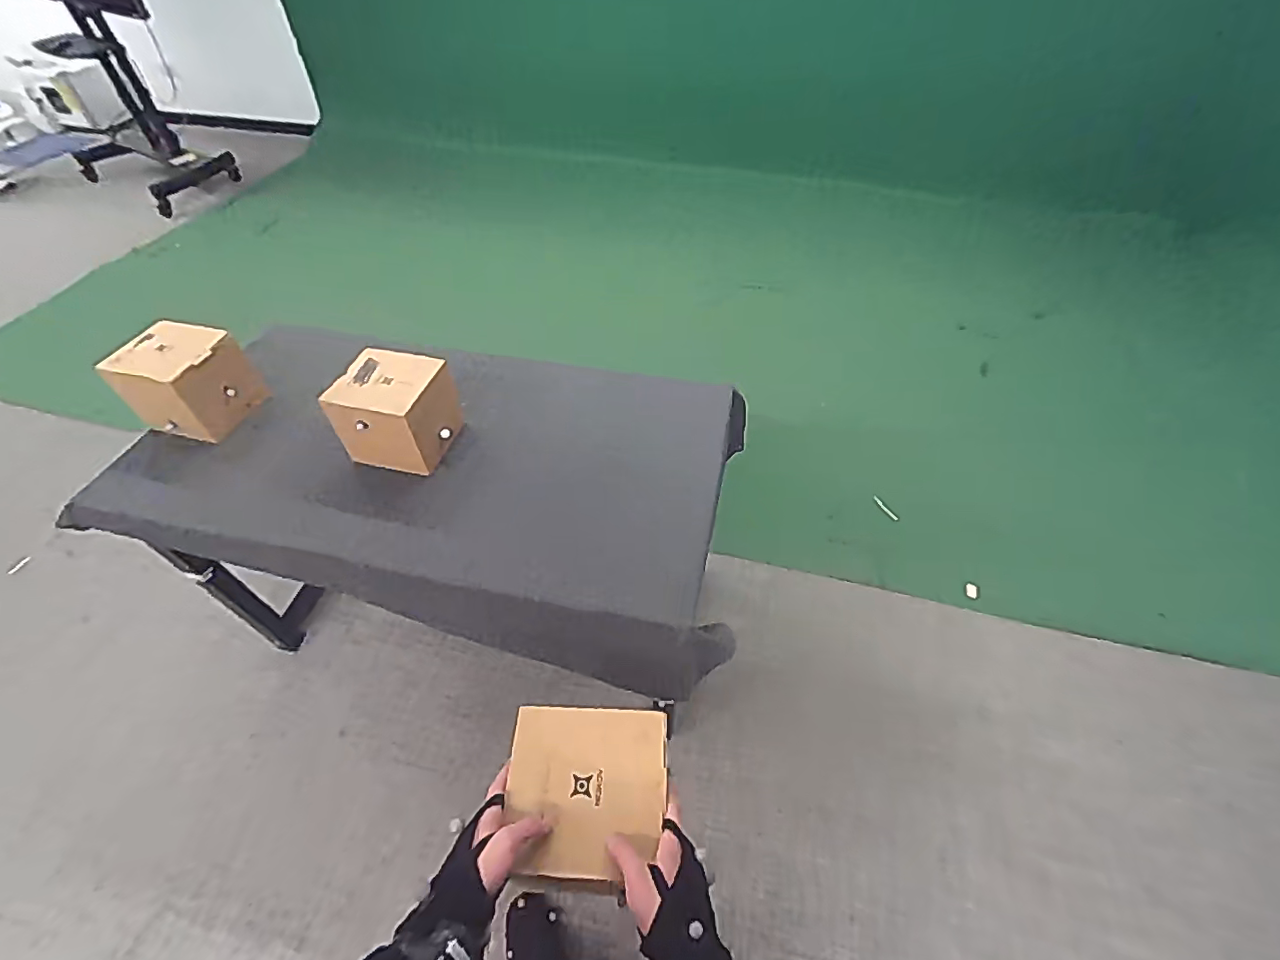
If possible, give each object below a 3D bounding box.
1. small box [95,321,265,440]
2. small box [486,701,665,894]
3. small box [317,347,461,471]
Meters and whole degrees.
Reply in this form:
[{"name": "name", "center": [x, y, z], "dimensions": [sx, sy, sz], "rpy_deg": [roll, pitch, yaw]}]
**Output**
[{"name": "small box", "center": [-0.945, -0.205, 1.134], "dimensions": [0.179, 0.176, 0.168], "rpy_deg": [12, 51, 9]}, {"name": "small box", "center": [-0.060, 0.377, 0.640], "dimensions": [0.179, 0.176, 0.168], "rpy_deg": [0, 47, 3]}, {"name": "small box", "center": [-0.486, -0.138, 1.078], "dimensions": [0.179, 0.176, 0.168], "rpy_deg": [11, 51, 8]}]
